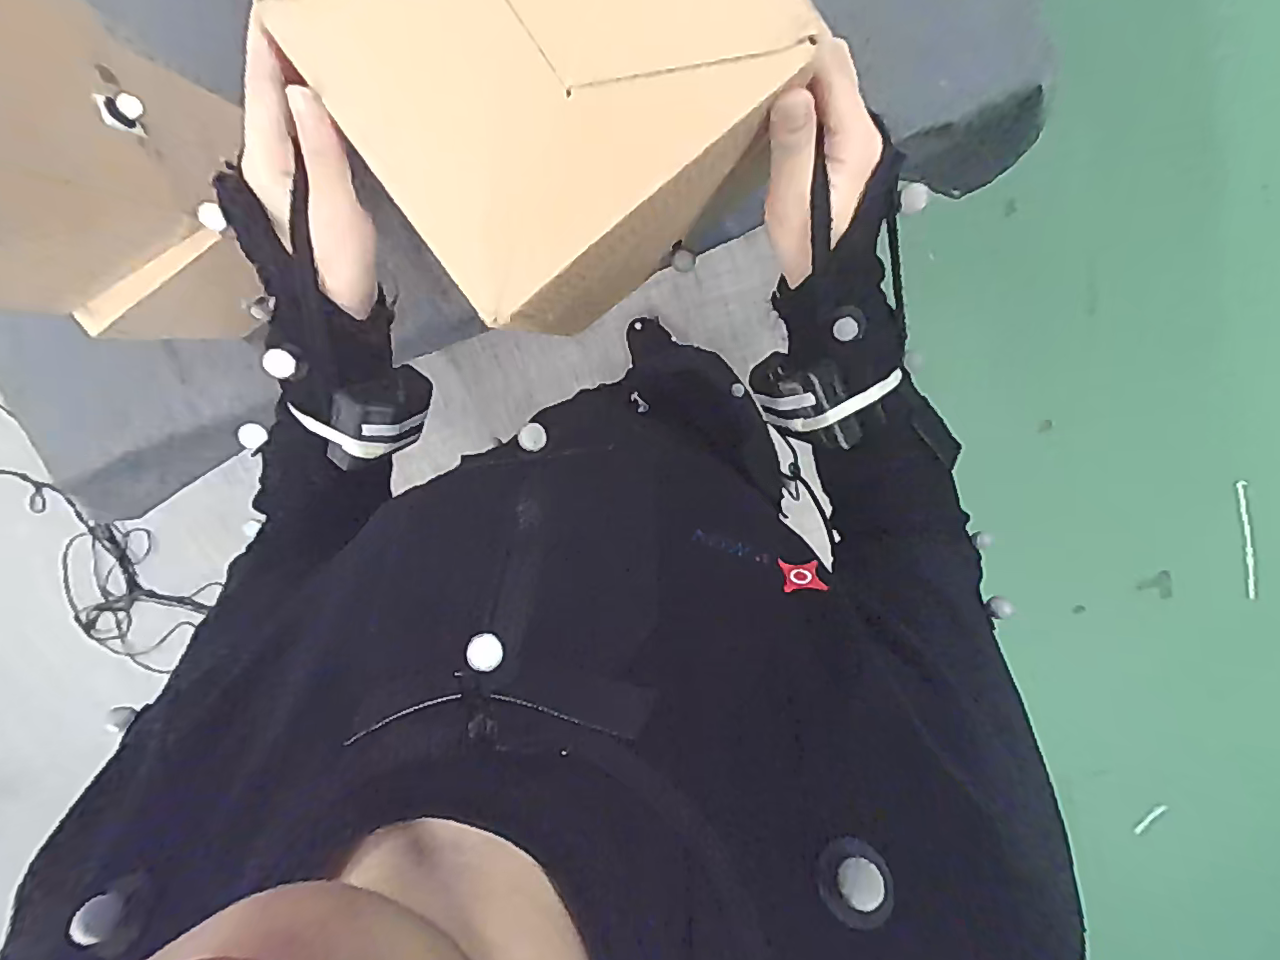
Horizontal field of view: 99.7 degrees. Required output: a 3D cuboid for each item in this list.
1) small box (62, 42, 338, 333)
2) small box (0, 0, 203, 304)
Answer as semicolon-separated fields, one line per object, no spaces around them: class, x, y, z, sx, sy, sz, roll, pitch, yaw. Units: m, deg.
small box;-0.443;-0.255;0.517;0.168;0.176;0.179;-28;101;12
small box;-0.459;-0.229;0.357;0.179;0.176;0.168;-24;103;10
